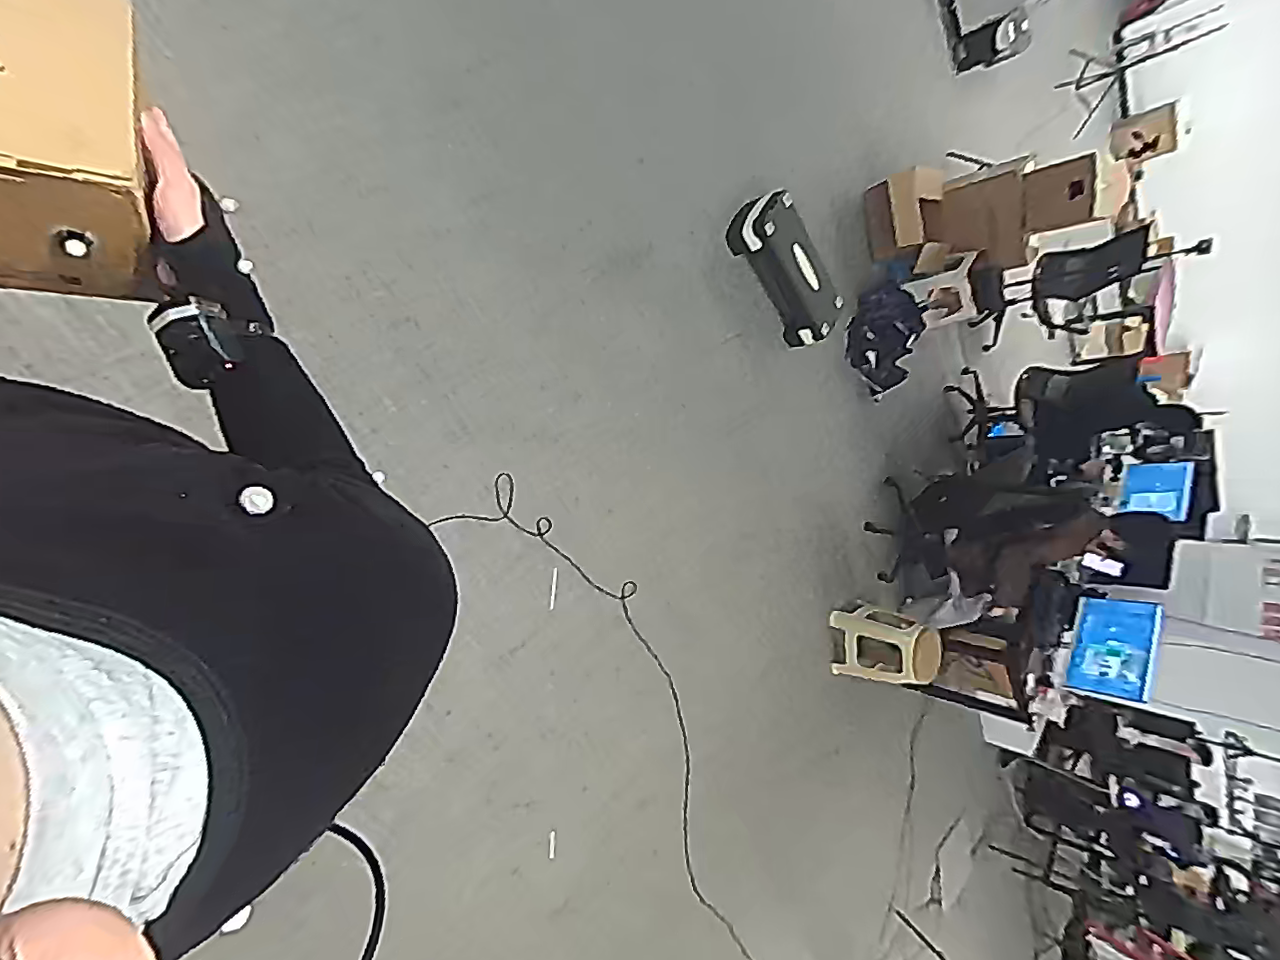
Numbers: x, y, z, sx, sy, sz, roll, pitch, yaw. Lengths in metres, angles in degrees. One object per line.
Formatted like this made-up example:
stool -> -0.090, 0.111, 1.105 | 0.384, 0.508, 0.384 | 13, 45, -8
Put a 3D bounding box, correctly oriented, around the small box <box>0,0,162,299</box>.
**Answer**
small box -> -0.493, -0.267, 0.422 | 0.168, 0.176, 0.179 | -4, 75, -38
